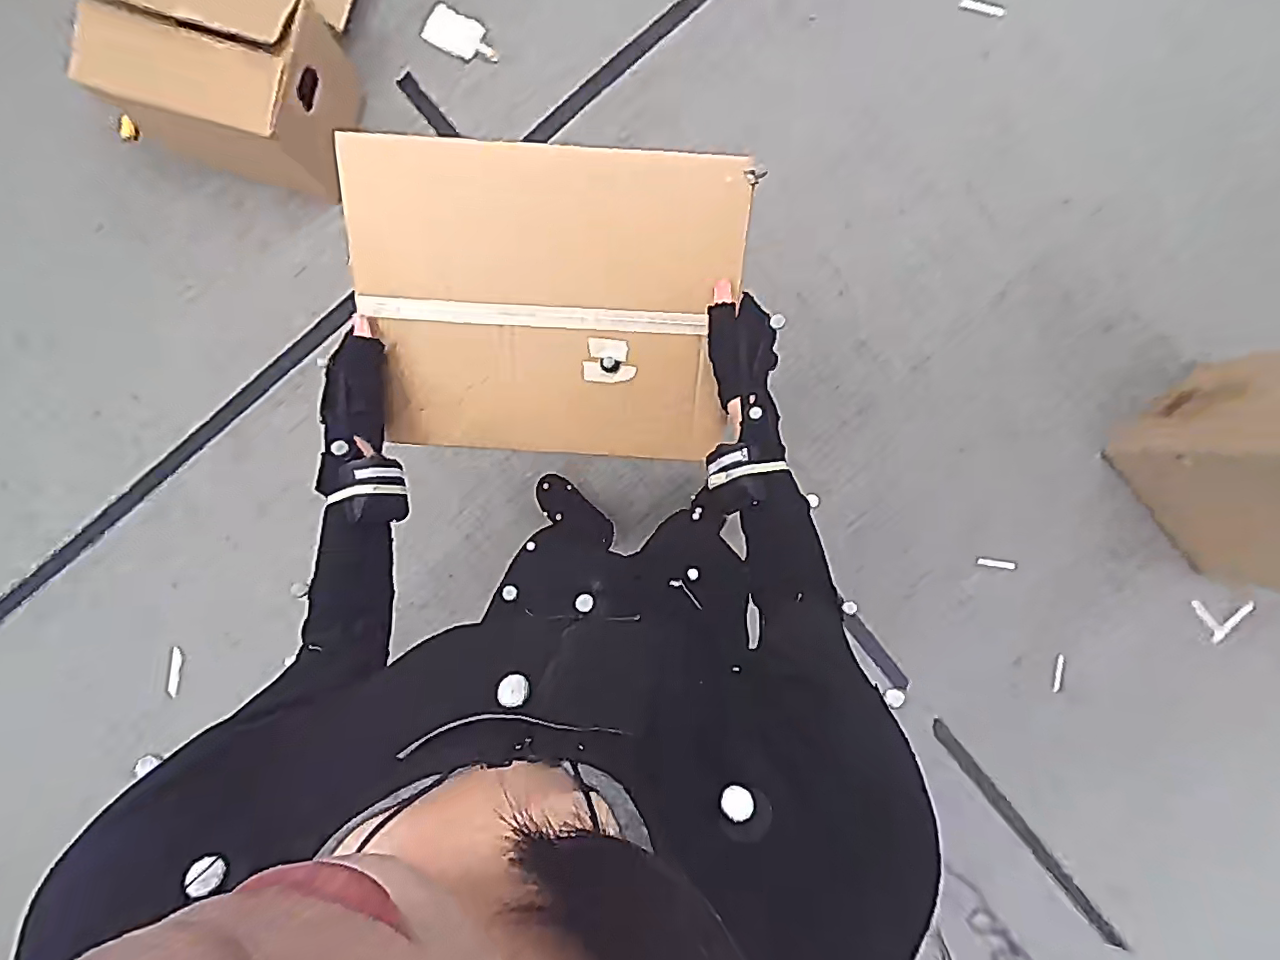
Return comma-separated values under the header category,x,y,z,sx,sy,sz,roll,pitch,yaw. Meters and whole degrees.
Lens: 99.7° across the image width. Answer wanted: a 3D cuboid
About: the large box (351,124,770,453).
category,x,y,z,sx,sy,sz,roll,pitch,yaw
large box,-0.082,-0.238,0.701,0.408,0.320,0.320,4,114,-1
